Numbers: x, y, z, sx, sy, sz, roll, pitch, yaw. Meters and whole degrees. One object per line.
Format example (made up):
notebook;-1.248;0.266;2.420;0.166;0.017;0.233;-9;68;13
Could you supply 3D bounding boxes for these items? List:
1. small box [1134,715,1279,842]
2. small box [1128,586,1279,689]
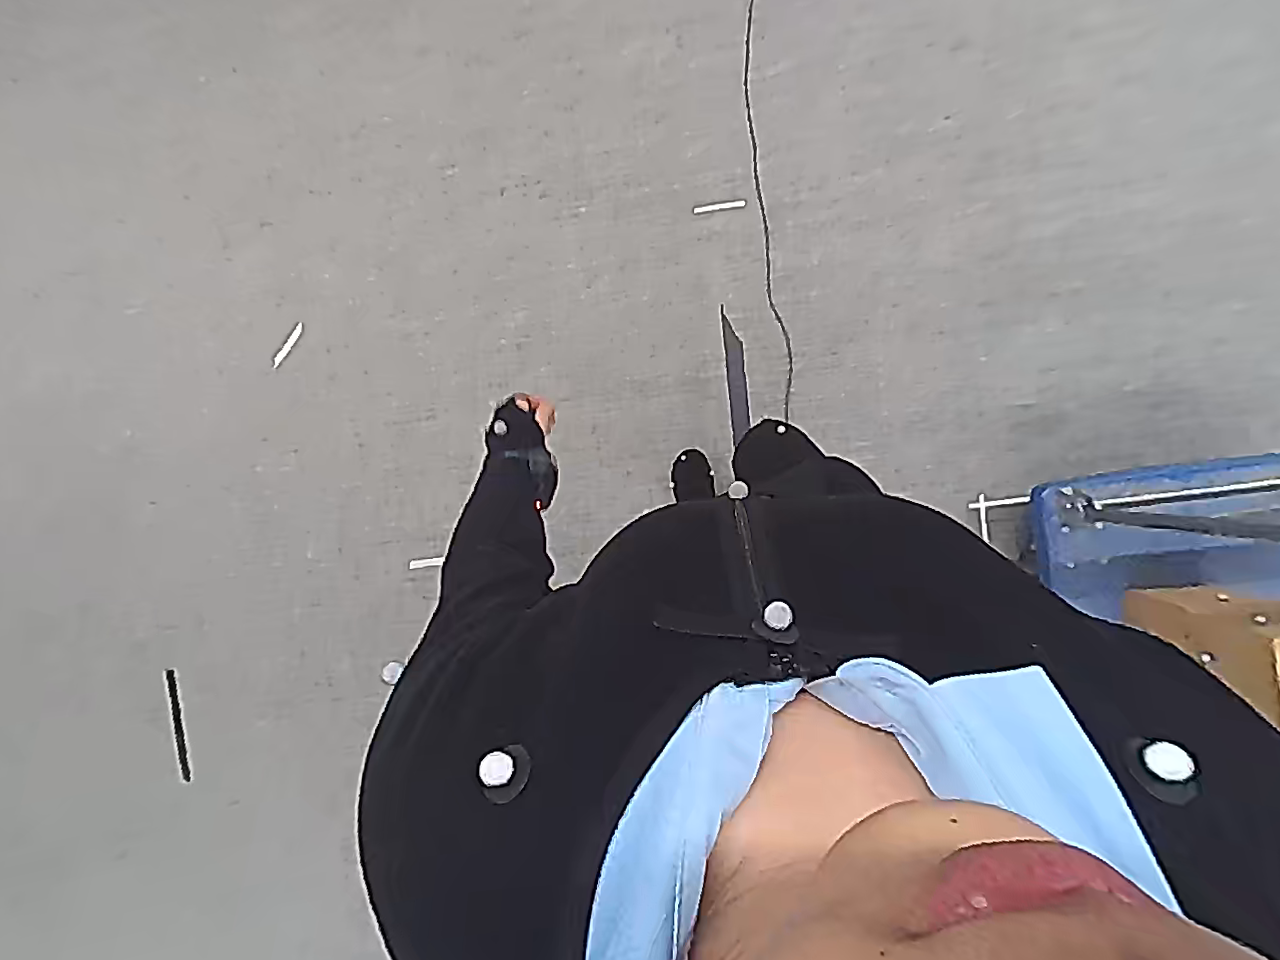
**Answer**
small box;1.200;0.613;1.129;0.179;0.176;0.168;-10;91;7
small box;1.173;0.319;1.120;0.179;0.176;0.168;-4;90;7
